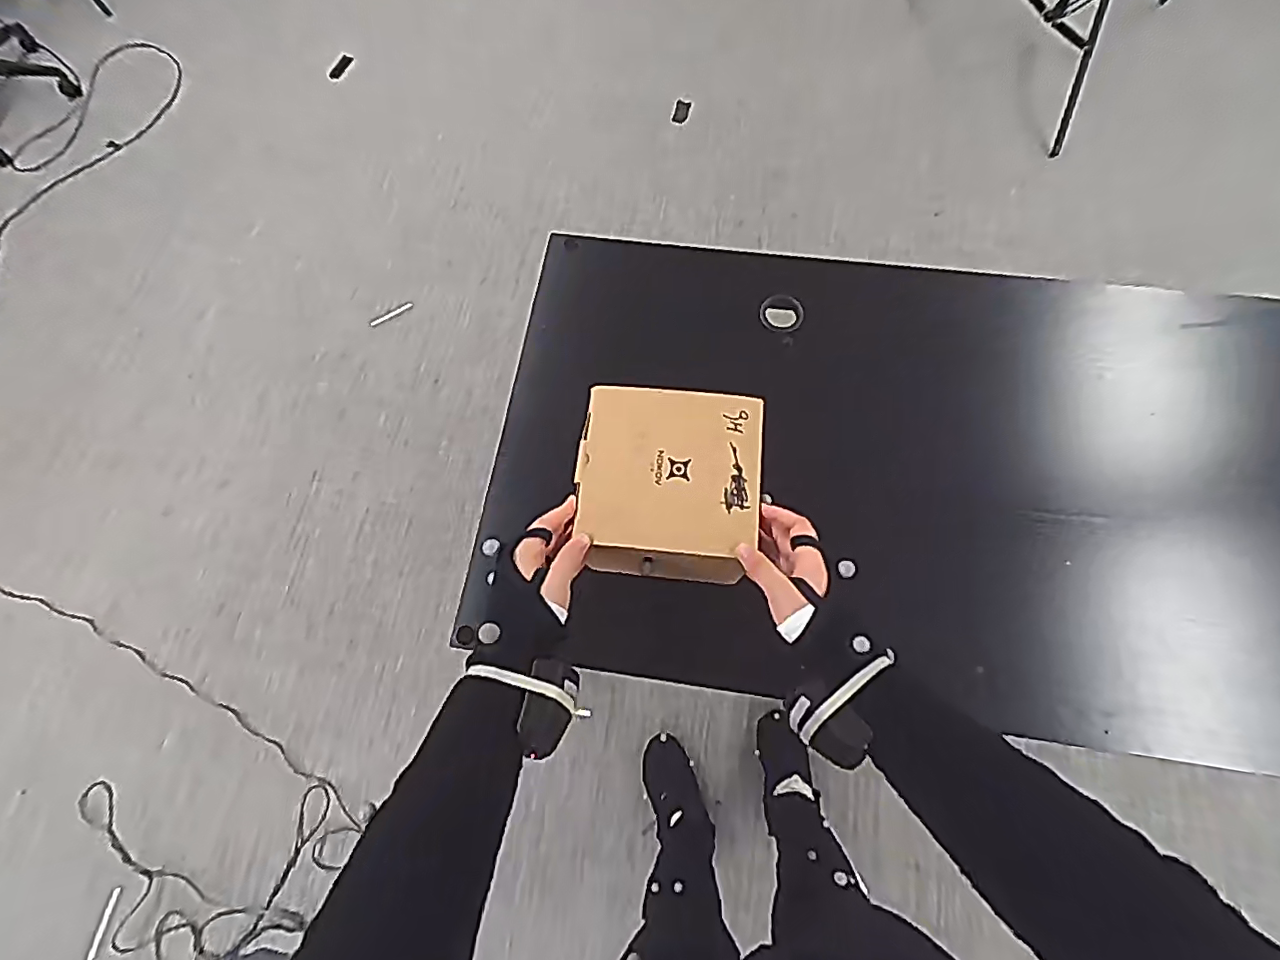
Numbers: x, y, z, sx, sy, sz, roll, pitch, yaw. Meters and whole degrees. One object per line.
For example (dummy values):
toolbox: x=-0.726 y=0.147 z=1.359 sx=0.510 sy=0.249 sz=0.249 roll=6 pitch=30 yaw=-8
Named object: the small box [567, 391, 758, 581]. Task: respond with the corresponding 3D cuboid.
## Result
small box: x=0.030 y=0.016 z=0.600 sx=0.179 sy=0.176 sz=0.168 roll=4 pitch=73 yaw=5
